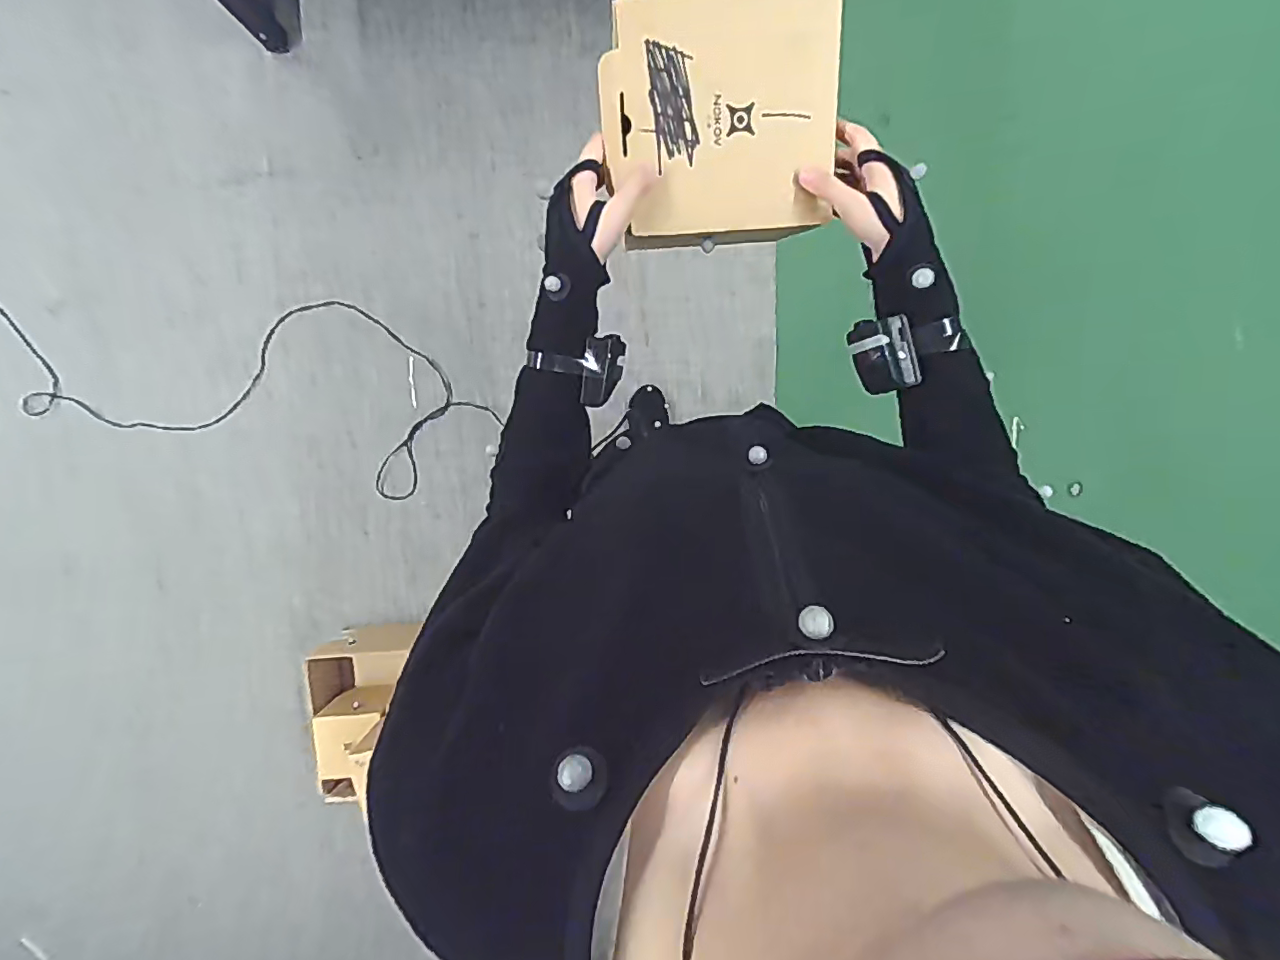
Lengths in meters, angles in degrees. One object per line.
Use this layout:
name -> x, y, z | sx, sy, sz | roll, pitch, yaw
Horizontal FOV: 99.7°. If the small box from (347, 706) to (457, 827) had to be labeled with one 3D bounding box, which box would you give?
small box -> -0.549, 0.667, 1.274 | 0.168, 0.176, 0.179 | -12, 95, 1
